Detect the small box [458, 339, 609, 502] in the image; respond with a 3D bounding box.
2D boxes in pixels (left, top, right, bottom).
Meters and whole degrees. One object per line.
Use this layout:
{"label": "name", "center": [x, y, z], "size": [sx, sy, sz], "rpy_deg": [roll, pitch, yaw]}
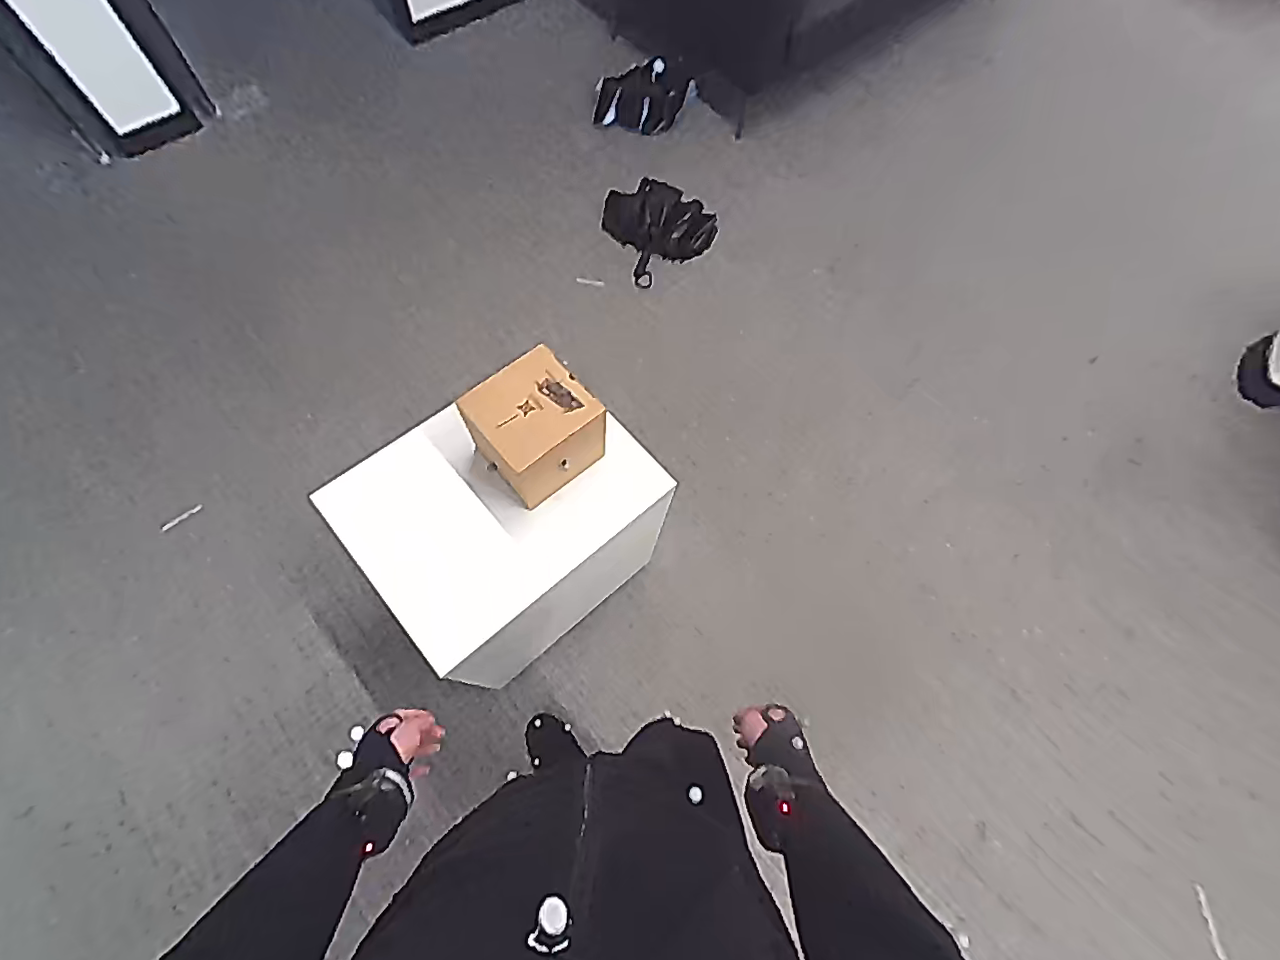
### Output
{"label": "small box", "center": [-0.173, -0.093, 0.907], "size": [0.179, 0.176, 0.168], "rpy_deg": [-38, 75, -19]}
